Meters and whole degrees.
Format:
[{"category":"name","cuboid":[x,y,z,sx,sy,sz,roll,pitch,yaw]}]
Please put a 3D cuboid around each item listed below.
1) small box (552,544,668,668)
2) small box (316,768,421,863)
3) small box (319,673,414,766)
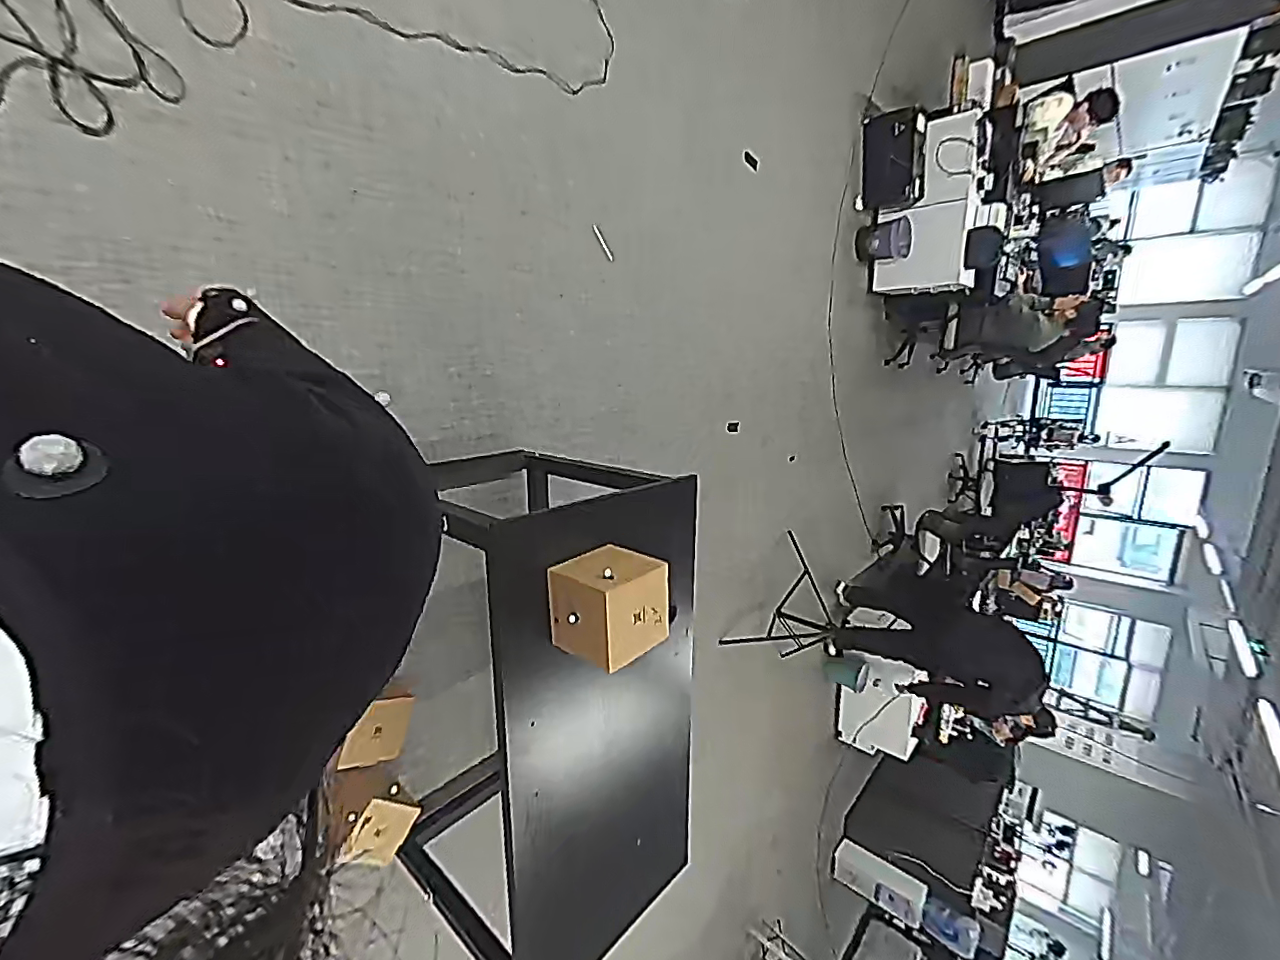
[{"category":"small box","cuboid":[-0.063,0.242,1.083,0.179,0.176,0.168,-17,111,-46]},{"category":"small box","cuboid":[-0.773,0.953,1.542,0.179,0.176,0.168,49,62,-42]},{"category":"small box","cuboid":[-0.761,0.654,1.496,0.168,0.176,0.179,18,84,-50]}]
